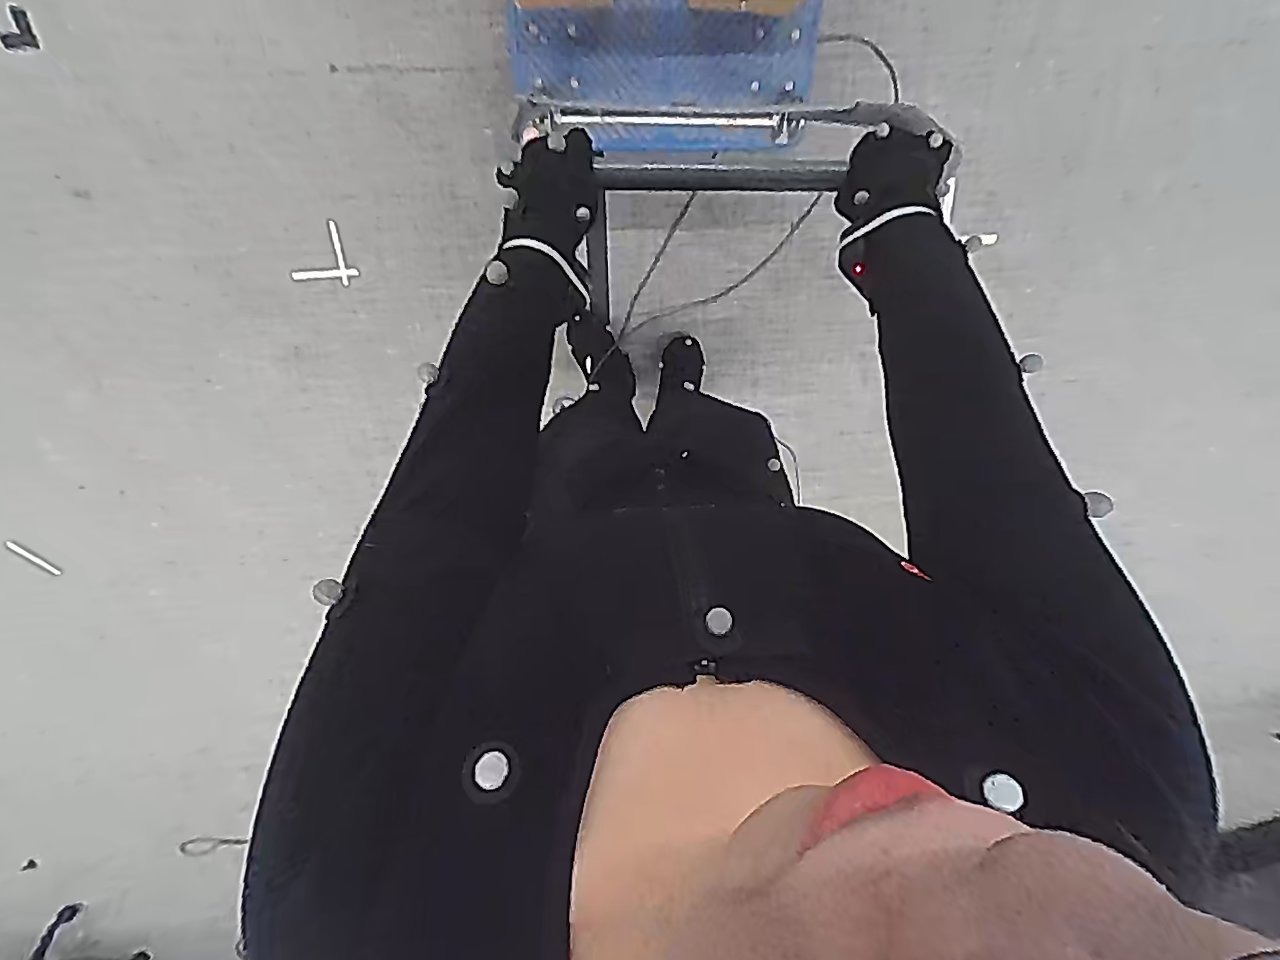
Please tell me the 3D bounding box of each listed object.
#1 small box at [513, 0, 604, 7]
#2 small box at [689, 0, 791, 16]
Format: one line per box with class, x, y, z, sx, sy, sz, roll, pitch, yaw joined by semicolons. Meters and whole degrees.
small box;-0.136;-0.875;0.856;0.179;0.176;0.168;-5;122;-4
small box;0.180;-0.882;0.878;0.179;0.176;0.168;2;122;-6
